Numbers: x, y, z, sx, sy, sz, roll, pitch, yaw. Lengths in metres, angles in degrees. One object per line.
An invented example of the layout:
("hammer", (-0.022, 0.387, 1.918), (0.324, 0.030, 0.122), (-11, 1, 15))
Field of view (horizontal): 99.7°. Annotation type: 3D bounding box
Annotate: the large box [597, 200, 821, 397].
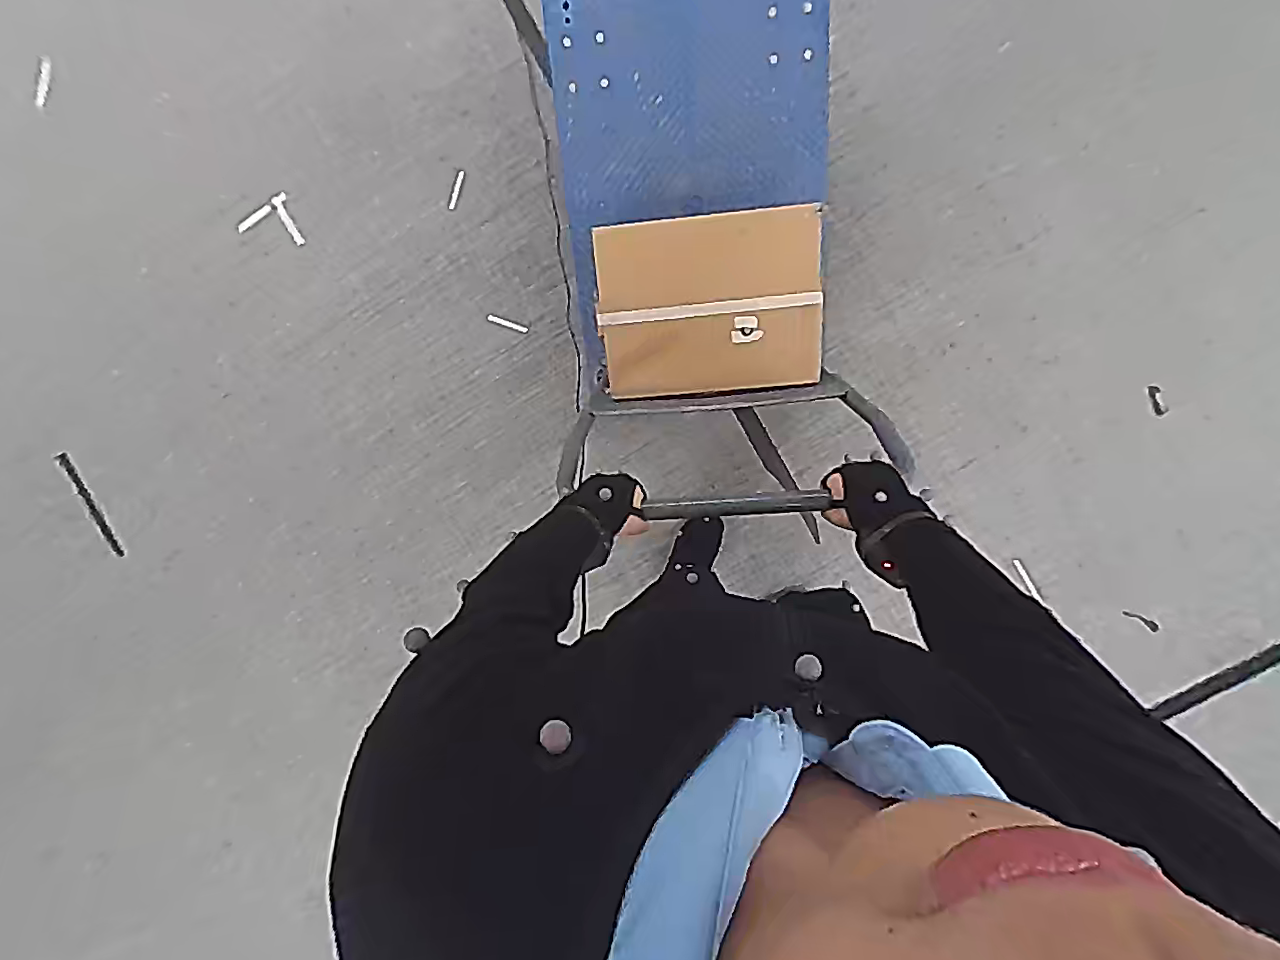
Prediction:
("large box", (0.141, -0.376, 1.153), (0.408, 0.320, 0.320), (-5, 109, 4))
